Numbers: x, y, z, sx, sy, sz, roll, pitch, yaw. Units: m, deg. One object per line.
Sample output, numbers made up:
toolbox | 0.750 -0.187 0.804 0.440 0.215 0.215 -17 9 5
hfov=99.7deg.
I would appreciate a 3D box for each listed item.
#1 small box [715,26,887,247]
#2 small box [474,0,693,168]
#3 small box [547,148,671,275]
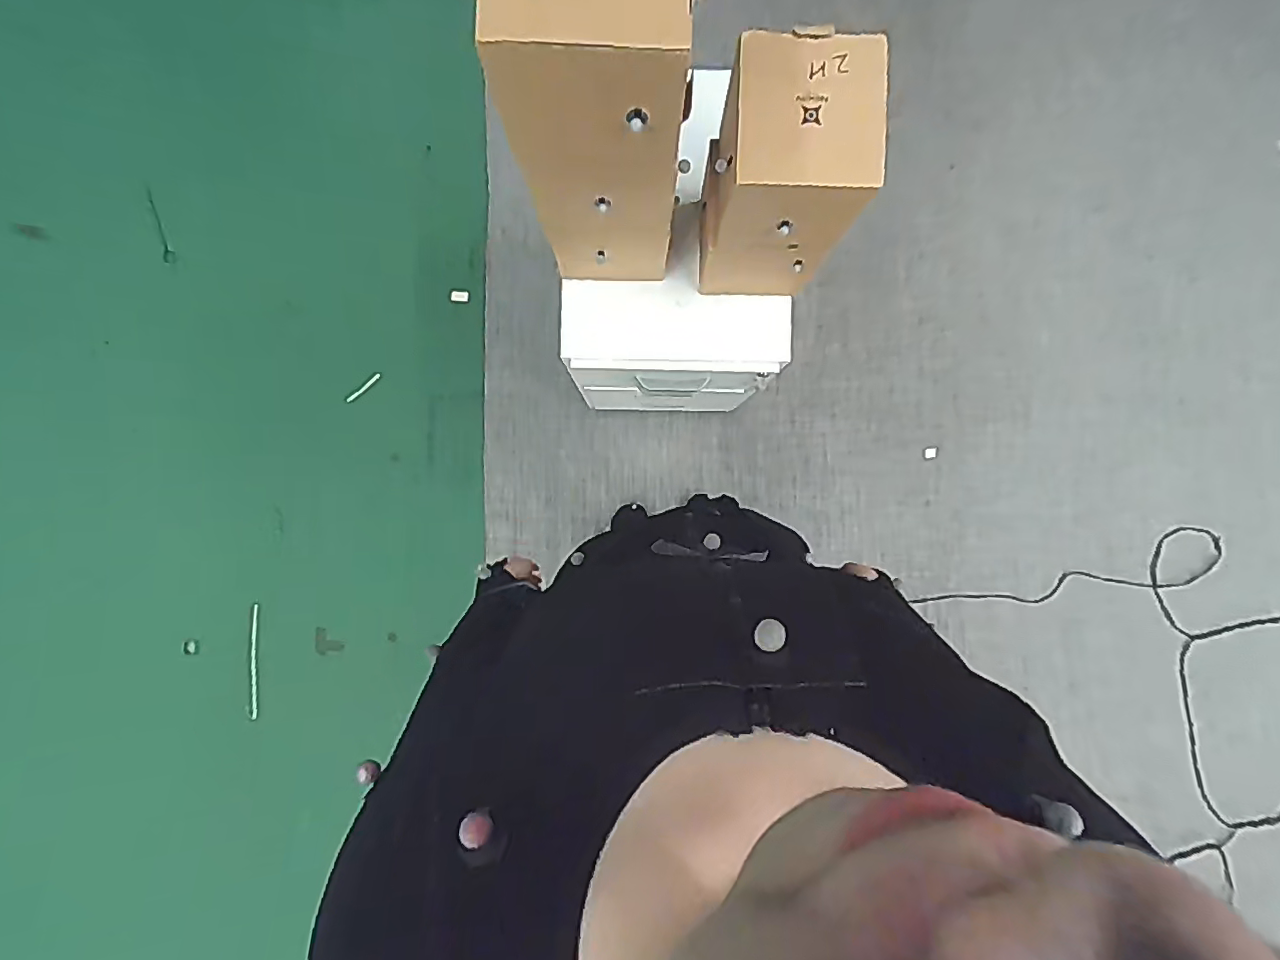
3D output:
small box | 0.188 -0.412 0.678 0.168 0.176 0.179 2 89 0
small box | -0.045 -0.425 0.514 0.179 0.176 0.168 1 88 0
small box | -0.044 -0.431 0.843 0.179 0.176 0.168 0 90 -2
